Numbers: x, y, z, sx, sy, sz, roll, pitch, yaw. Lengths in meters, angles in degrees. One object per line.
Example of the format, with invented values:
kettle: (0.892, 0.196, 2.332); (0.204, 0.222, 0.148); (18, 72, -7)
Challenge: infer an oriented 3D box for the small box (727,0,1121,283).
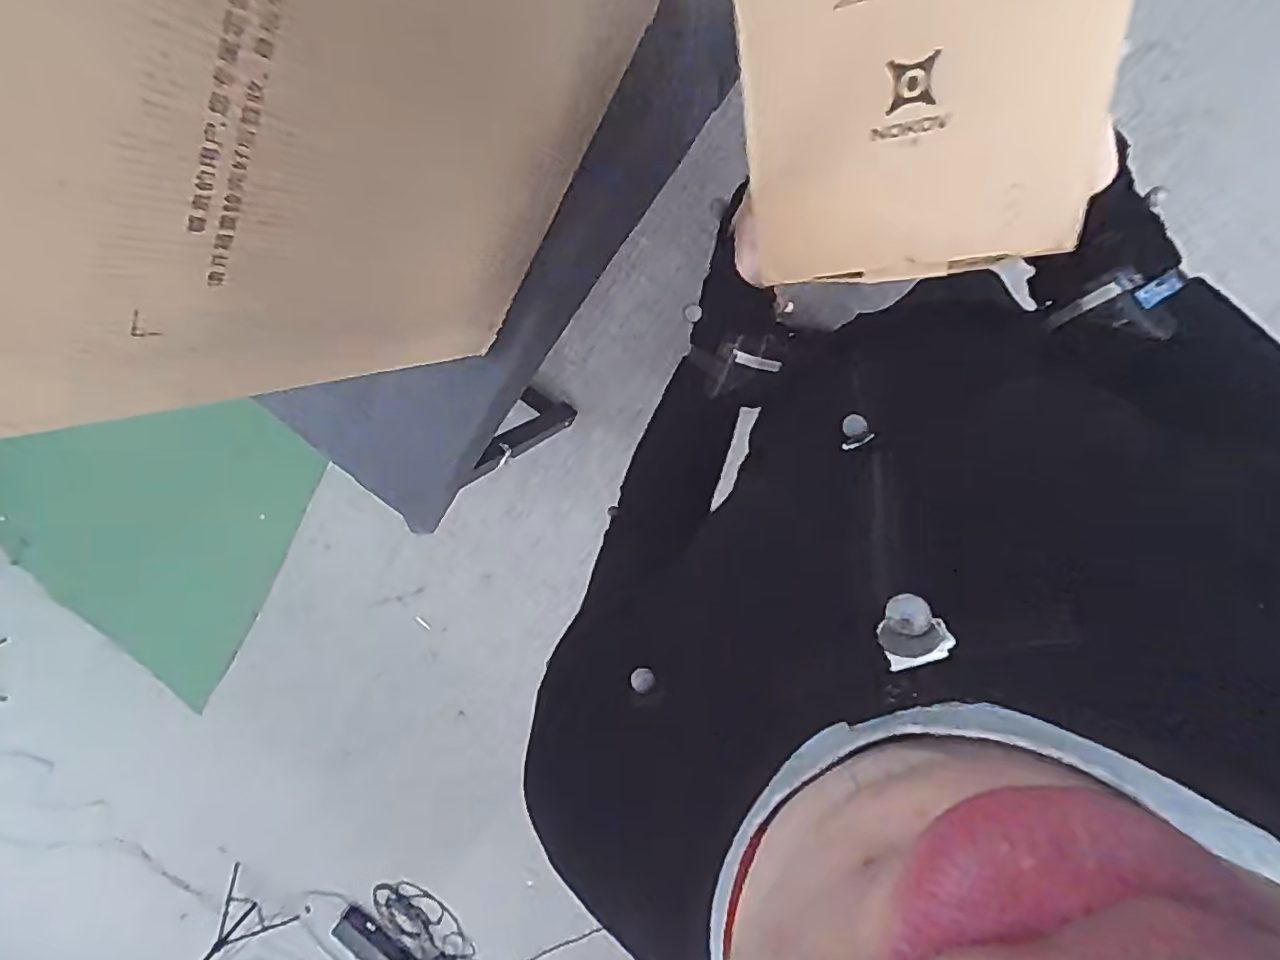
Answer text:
small box: (0.155, -0.241, 0.323); (0.168, 0.176, 0.179); (0, 127, 23)
